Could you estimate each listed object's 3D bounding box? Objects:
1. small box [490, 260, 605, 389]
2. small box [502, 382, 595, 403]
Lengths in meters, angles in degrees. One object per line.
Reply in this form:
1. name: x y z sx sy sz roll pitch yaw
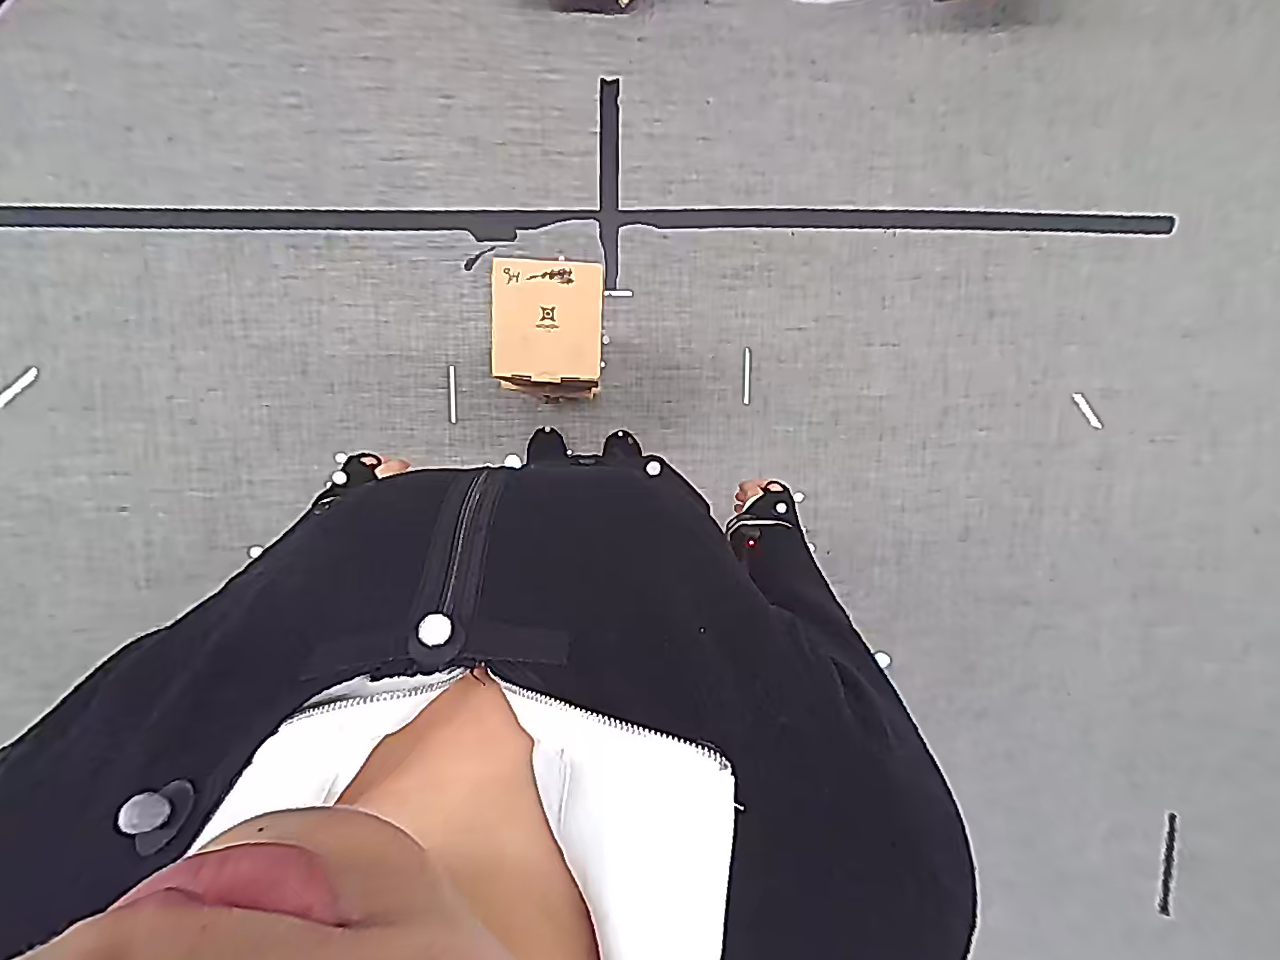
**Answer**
1. small box: -0.144 -0.243 0.885 0.168 0.176 0.179 2 96 -4
2. small box: -0.166 -0.246 1.048 0.168 0.176 0.179 5 97 -4
